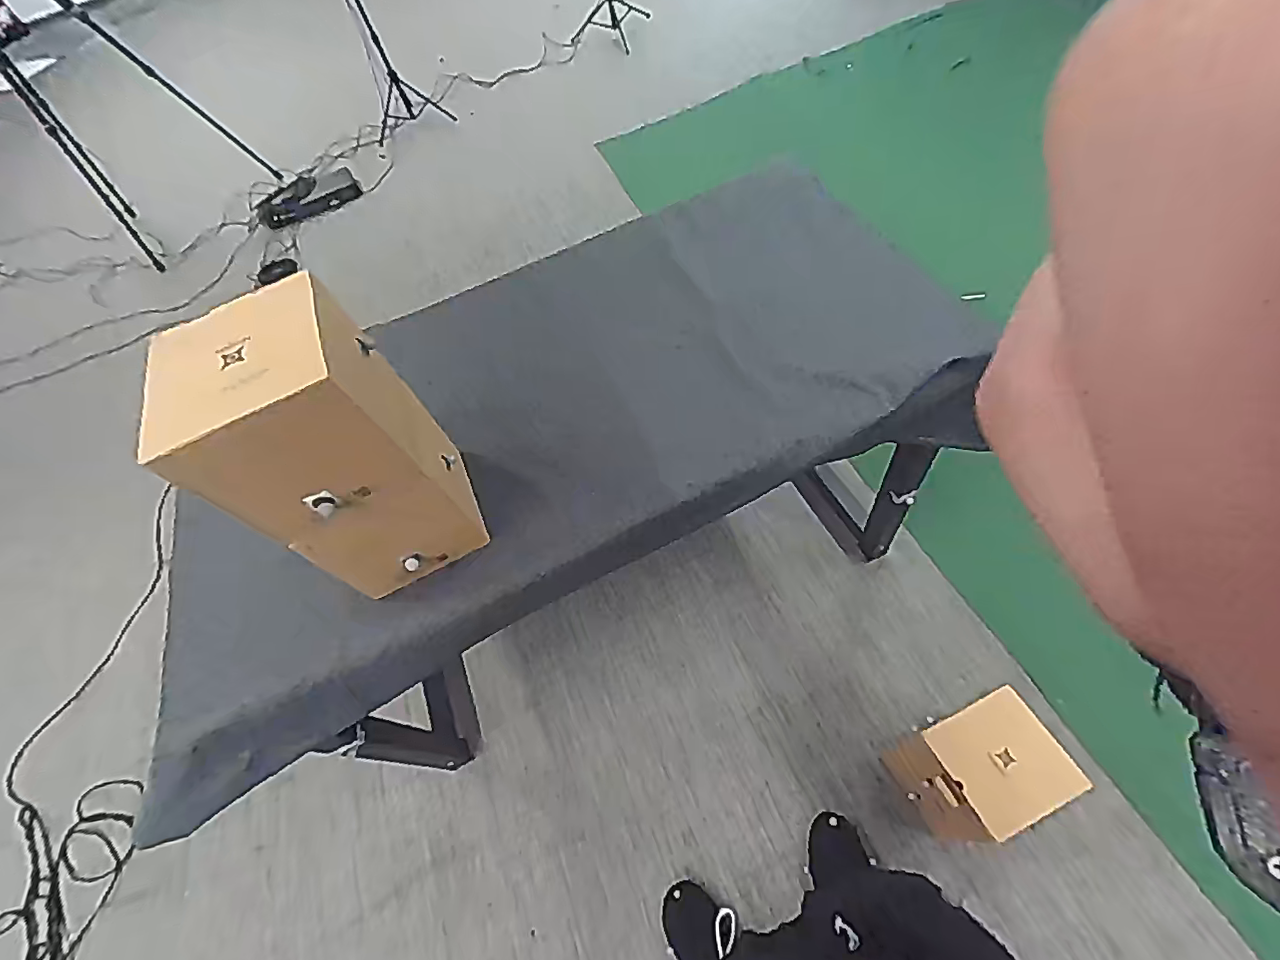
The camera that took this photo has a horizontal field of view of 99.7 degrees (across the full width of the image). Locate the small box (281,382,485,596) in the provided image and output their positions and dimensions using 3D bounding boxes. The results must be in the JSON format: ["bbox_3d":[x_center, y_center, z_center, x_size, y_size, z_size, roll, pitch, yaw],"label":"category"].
[{"bbox_3d":[-0.321,0.016,0.682,0.168,0.176,0.179,-27,58,-6],"label":"small box"}]

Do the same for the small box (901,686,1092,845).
[{"bbox_3d":[0.570,0.469,0.896,0.179,0.176,0.168,-27,58,-5],"label":"small box"}]

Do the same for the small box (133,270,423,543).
[{"bbox_3d":[-0.349,-0.067,0.546,0.168,0.176,0.179,-28,58,-5],"label":"small box"}]
